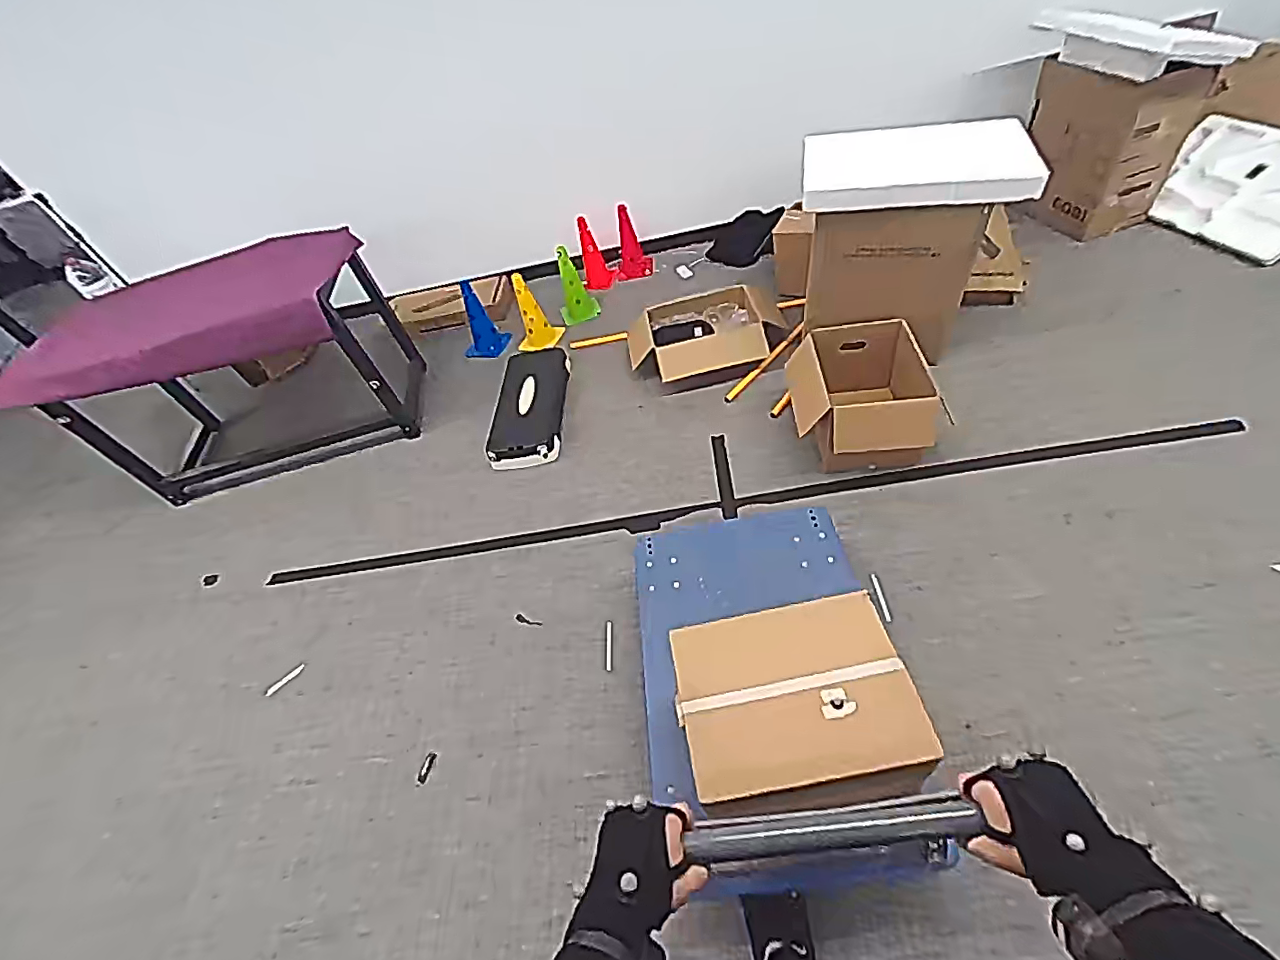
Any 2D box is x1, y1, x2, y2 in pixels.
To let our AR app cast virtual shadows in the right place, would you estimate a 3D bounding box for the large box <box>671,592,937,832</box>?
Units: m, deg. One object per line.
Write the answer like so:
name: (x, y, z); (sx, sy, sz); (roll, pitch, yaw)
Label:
large box: (0.300, 0.477, 1.099); (0.408, 0.320, 0.320); (-12, 48, 2)
